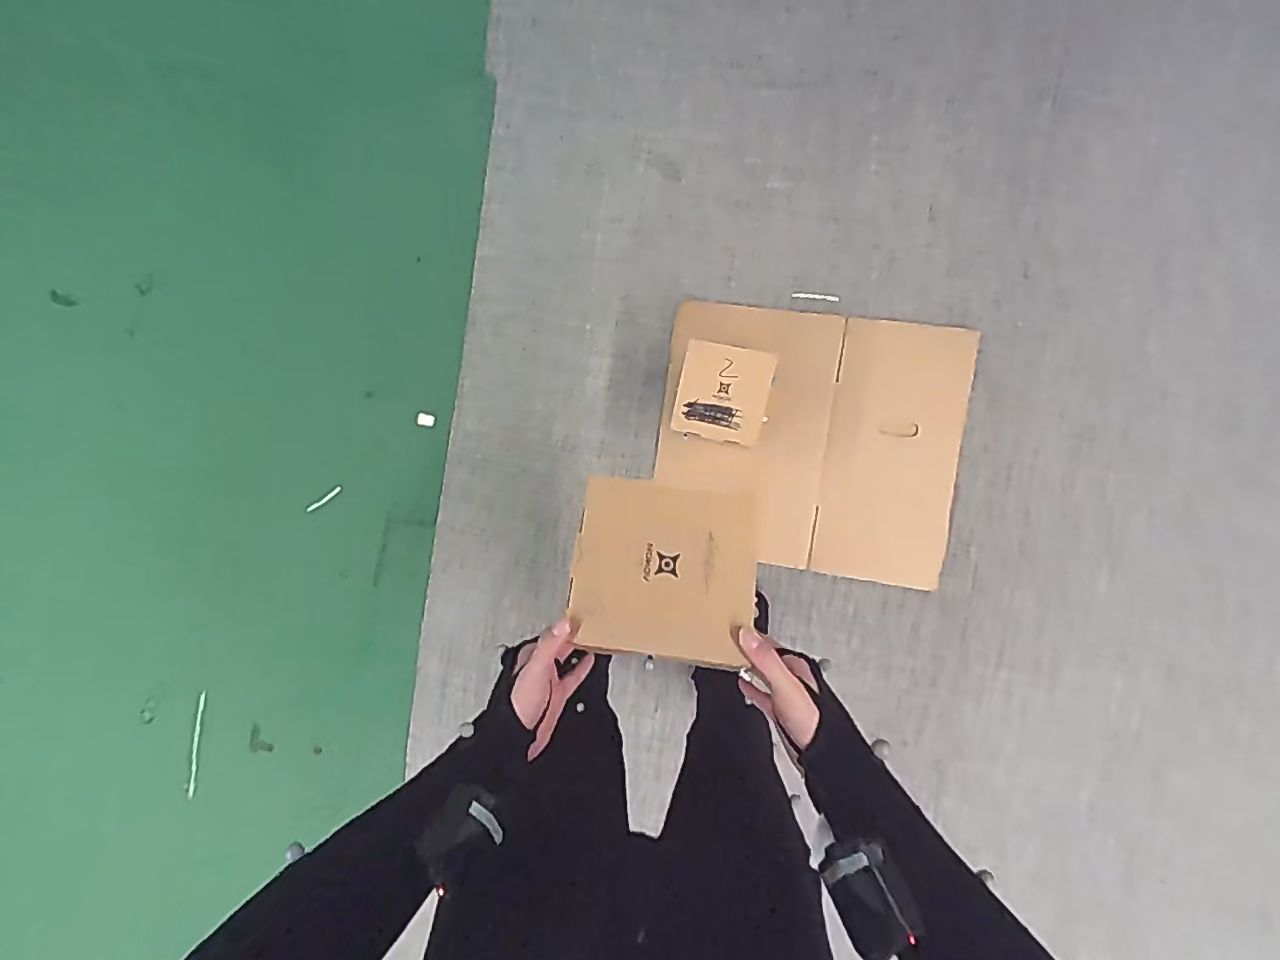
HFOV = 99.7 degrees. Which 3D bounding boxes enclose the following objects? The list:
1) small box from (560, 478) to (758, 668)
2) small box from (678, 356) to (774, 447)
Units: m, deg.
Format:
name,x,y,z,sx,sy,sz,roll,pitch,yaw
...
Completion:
name,x,y,z,sx,sy,sz,roll,pitch,yaw
small box,0.028,0.110,0.595,0.179,0.176,0.168,6,71,7
small box,0.195,-0.171,1.235,0.179,0.176,0.168,13,93,8
